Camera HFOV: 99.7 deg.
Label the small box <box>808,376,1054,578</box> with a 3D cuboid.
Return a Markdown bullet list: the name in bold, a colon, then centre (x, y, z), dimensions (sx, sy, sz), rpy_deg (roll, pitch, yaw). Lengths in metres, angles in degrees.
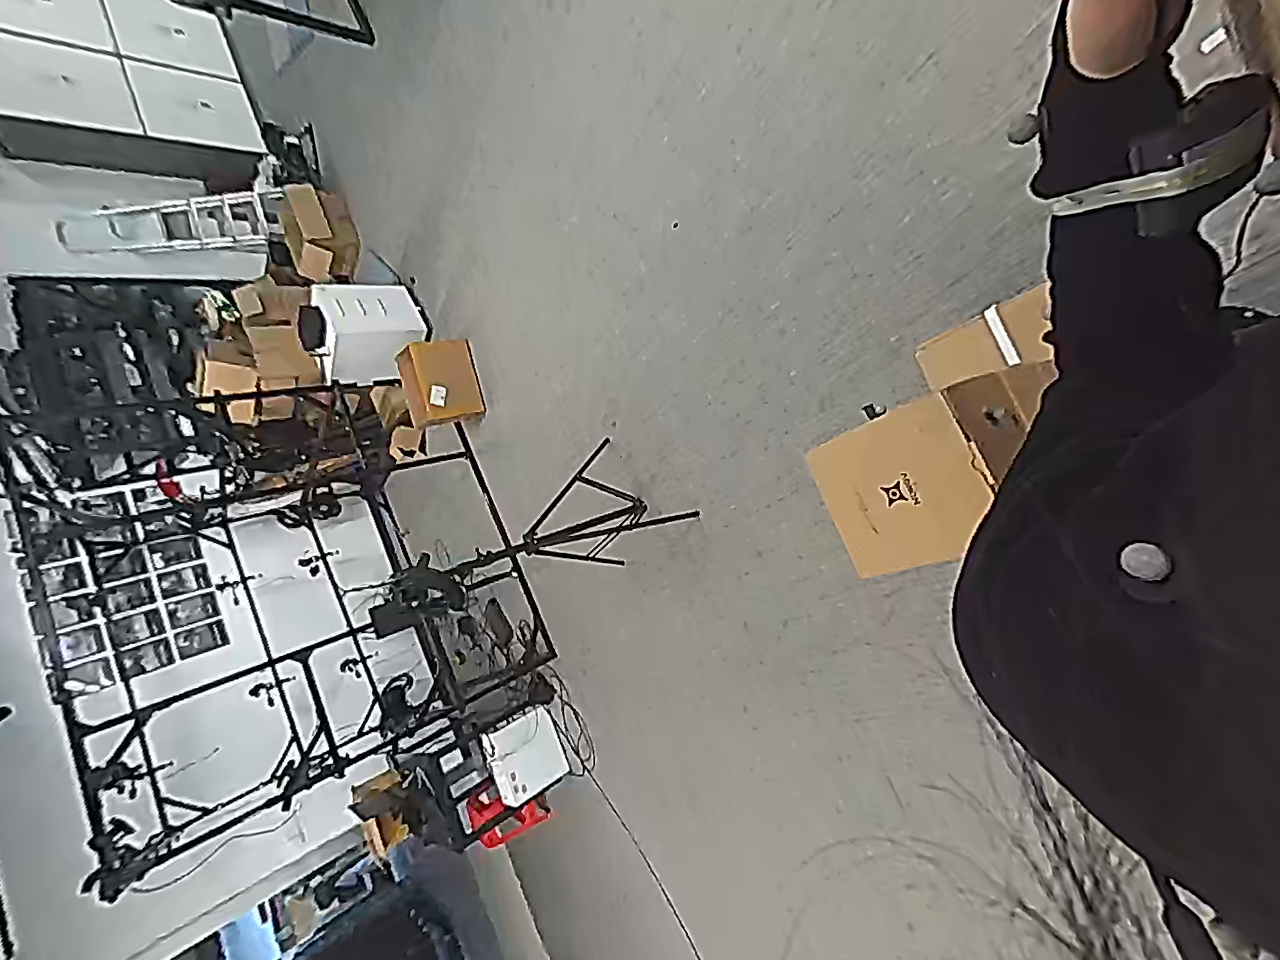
- **small box**: centre (0.339, -0.006, 0.625), dimensions (0.179, 0.176, 0.168), rpy_deg (-33, 77, 51)

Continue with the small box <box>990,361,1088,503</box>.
- **small box**: centre (0.460, -0.045, 0.725), dimensions (0.179, 0.176, 0.168), rpy_deg (-32, 79, 50)
